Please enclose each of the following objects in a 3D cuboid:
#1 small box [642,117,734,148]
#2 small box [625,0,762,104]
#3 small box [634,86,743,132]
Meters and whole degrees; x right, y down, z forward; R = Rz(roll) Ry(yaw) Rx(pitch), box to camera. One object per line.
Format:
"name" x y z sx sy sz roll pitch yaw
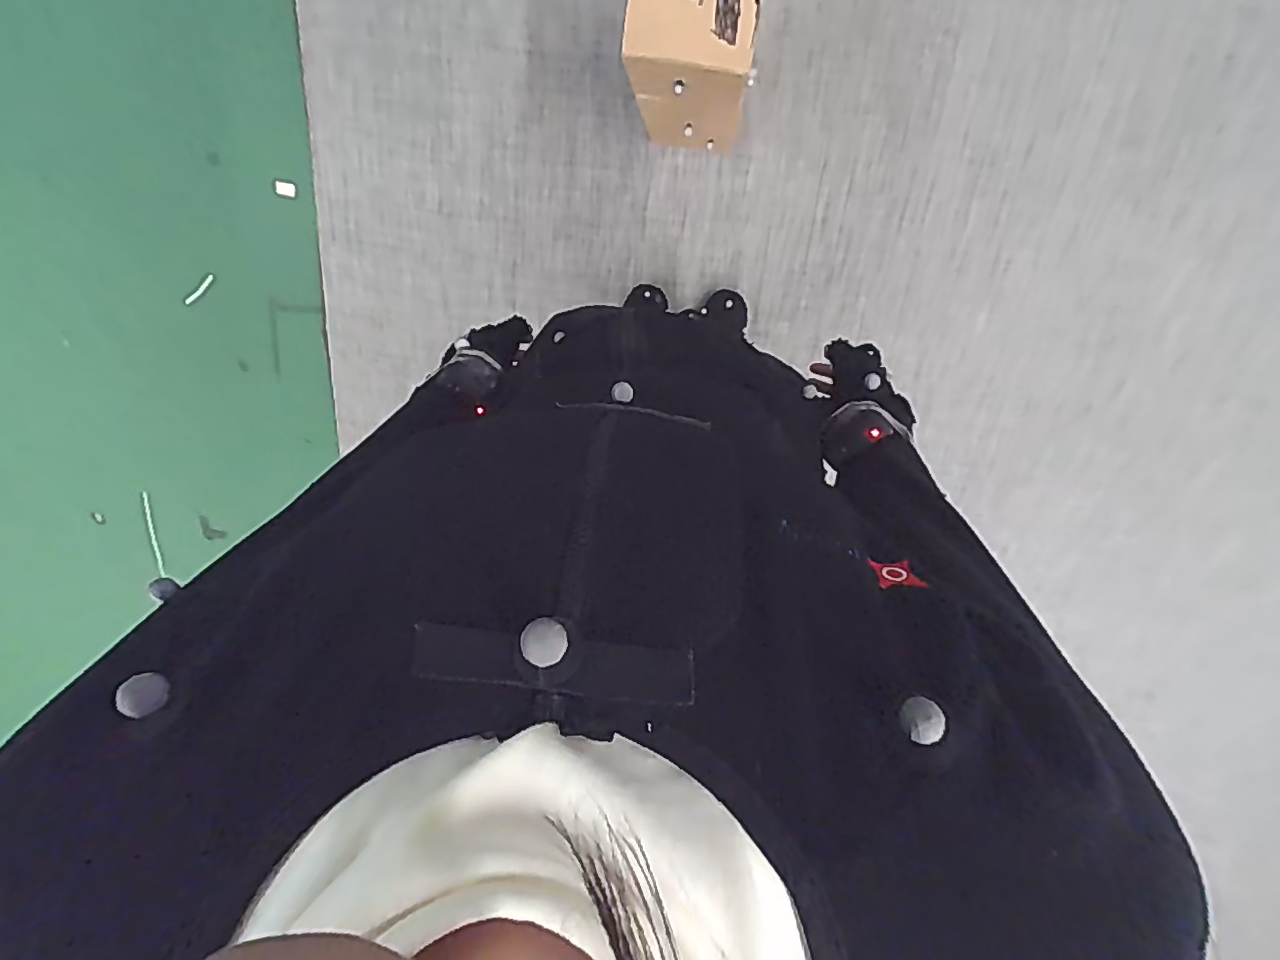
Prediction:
"small box" 0.108 -0.783 1.088 0.179 0.176 0.168 8 110 5
"small box" 0.079 -0.668 0.782 0.179 0.176 0.168 7 111 2
"small box" 0.094 -0.724 0.936 0.179 0.176 0.168 9 111 2
